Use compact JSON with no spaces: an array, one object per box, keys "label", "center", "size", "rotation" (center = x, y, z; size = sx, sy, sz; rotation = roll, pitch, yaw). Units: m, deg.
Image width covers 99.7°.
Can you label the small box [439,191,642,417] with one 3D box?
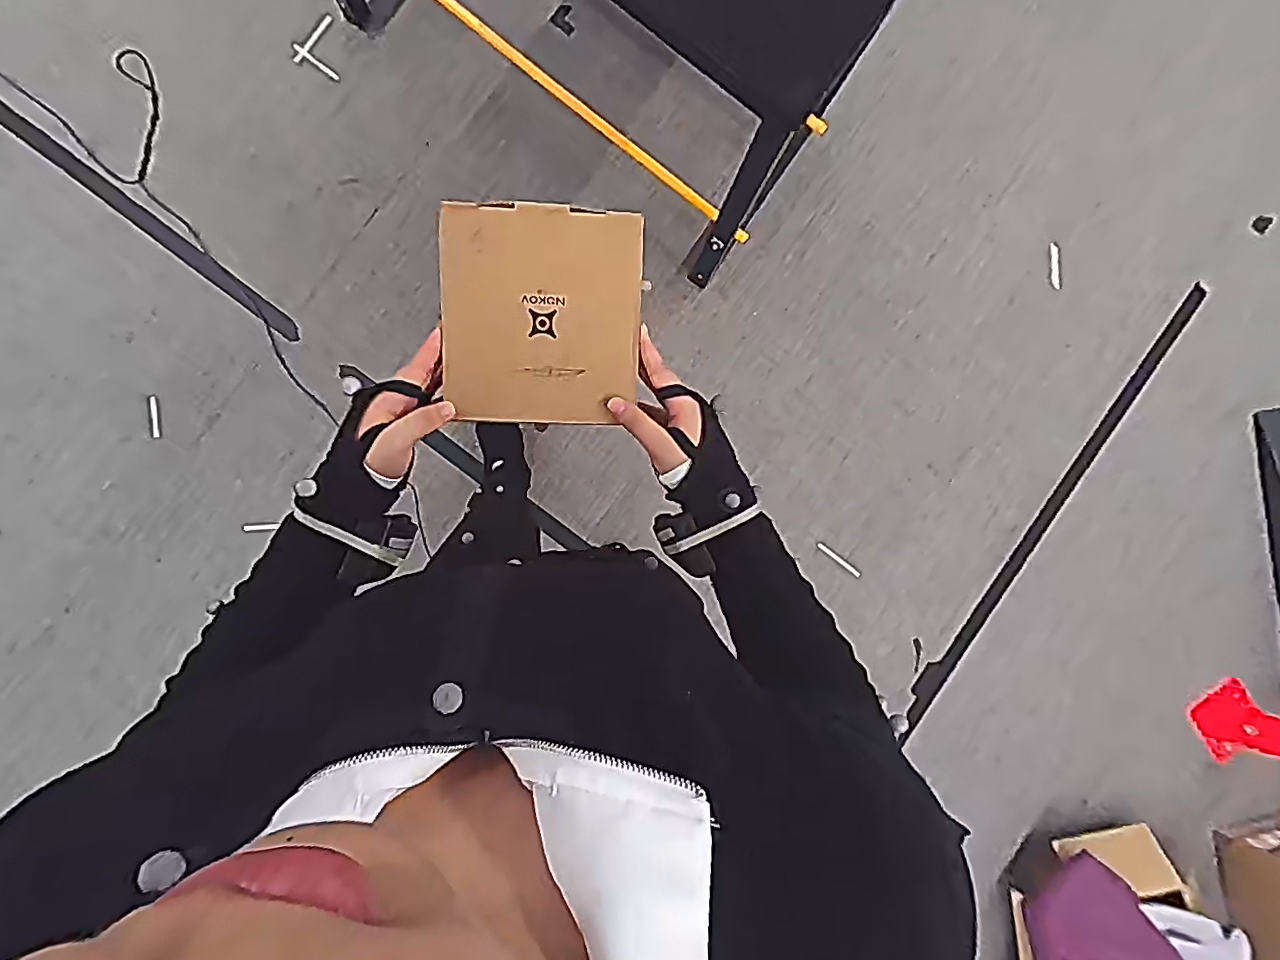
[{"label":"small box","center":[-0.091,-0.156,0.528],"size":[0.168,0.176,0.179],"rotation":[1,100,-5]}]
